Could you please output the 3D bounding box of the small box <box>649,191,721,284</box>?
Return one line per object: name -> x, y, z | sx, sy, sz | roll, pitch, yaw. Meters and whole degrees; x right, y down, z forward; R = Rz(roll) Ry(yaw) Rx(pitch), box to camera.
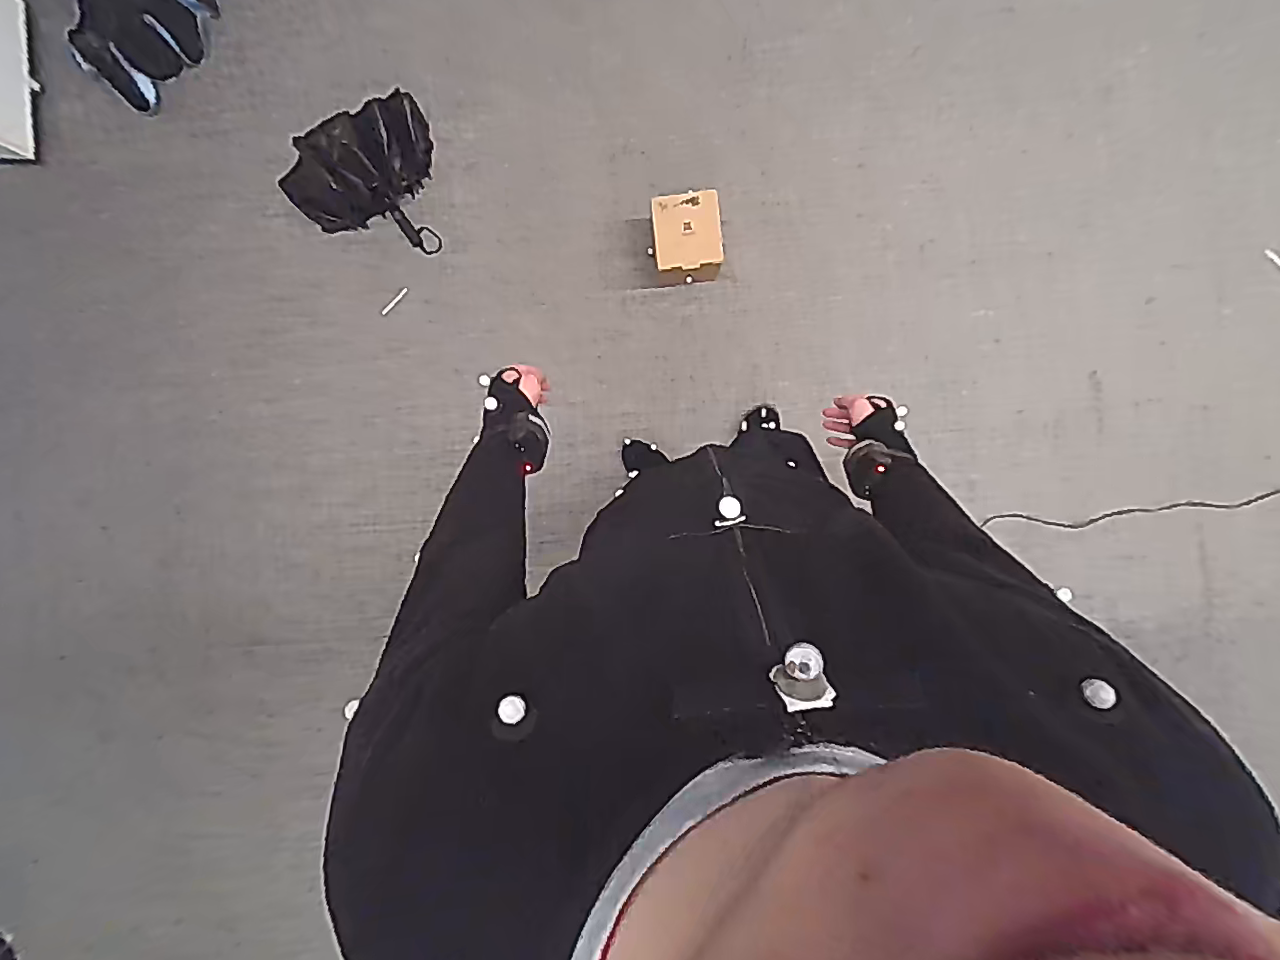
small box -> 0.113, -0.613, 1.393 | 0.168, 0.176, 0.179 | -6, 96, 1
